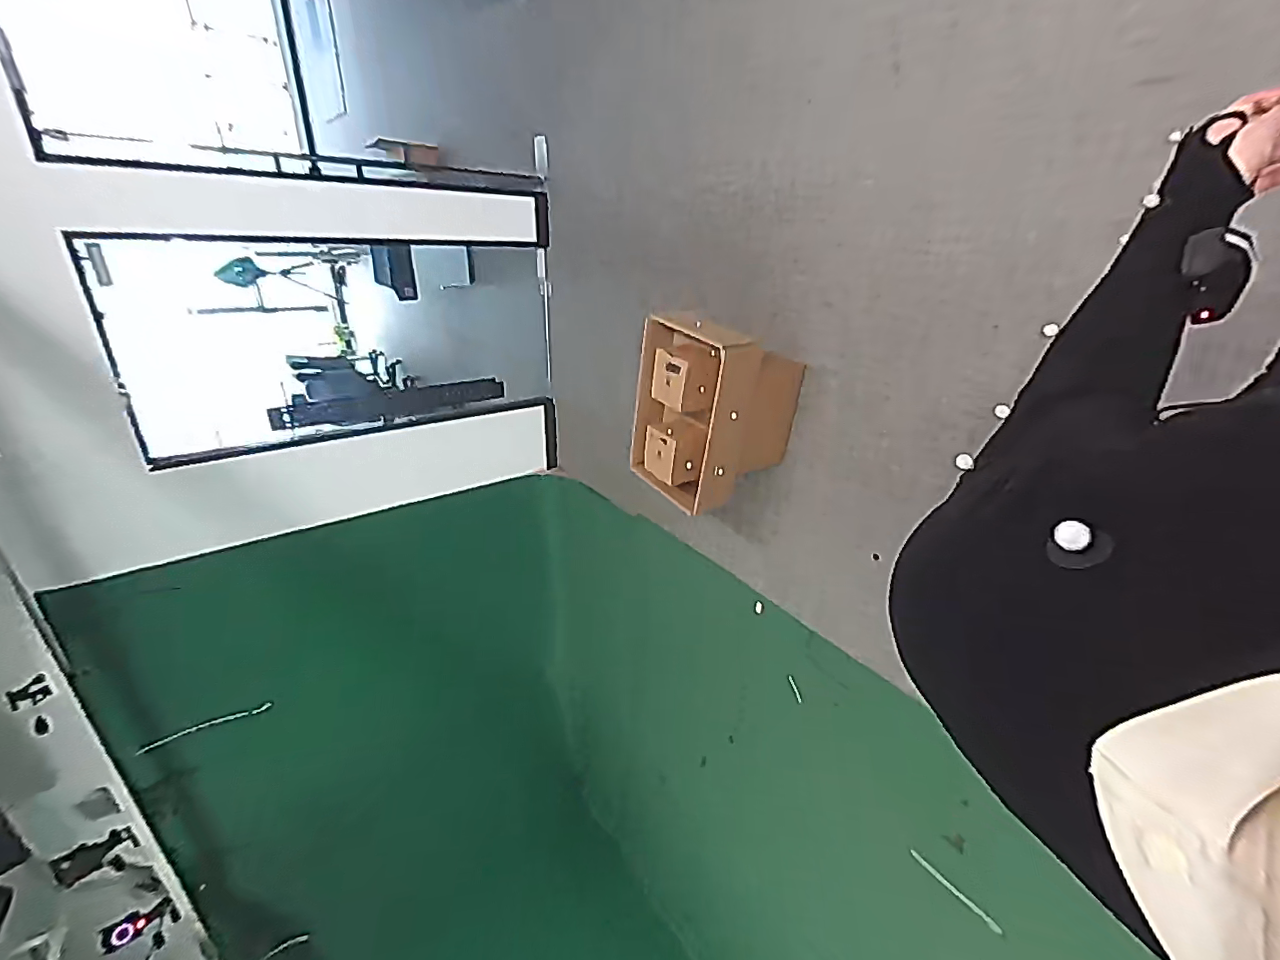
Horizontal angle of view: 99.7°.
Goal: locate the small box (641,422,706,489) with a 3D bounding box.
[{"bbox_3d":[0.122,-0.094,1.967,0.168,0.176,0.179,35,130,44],"label":"small box"}]
